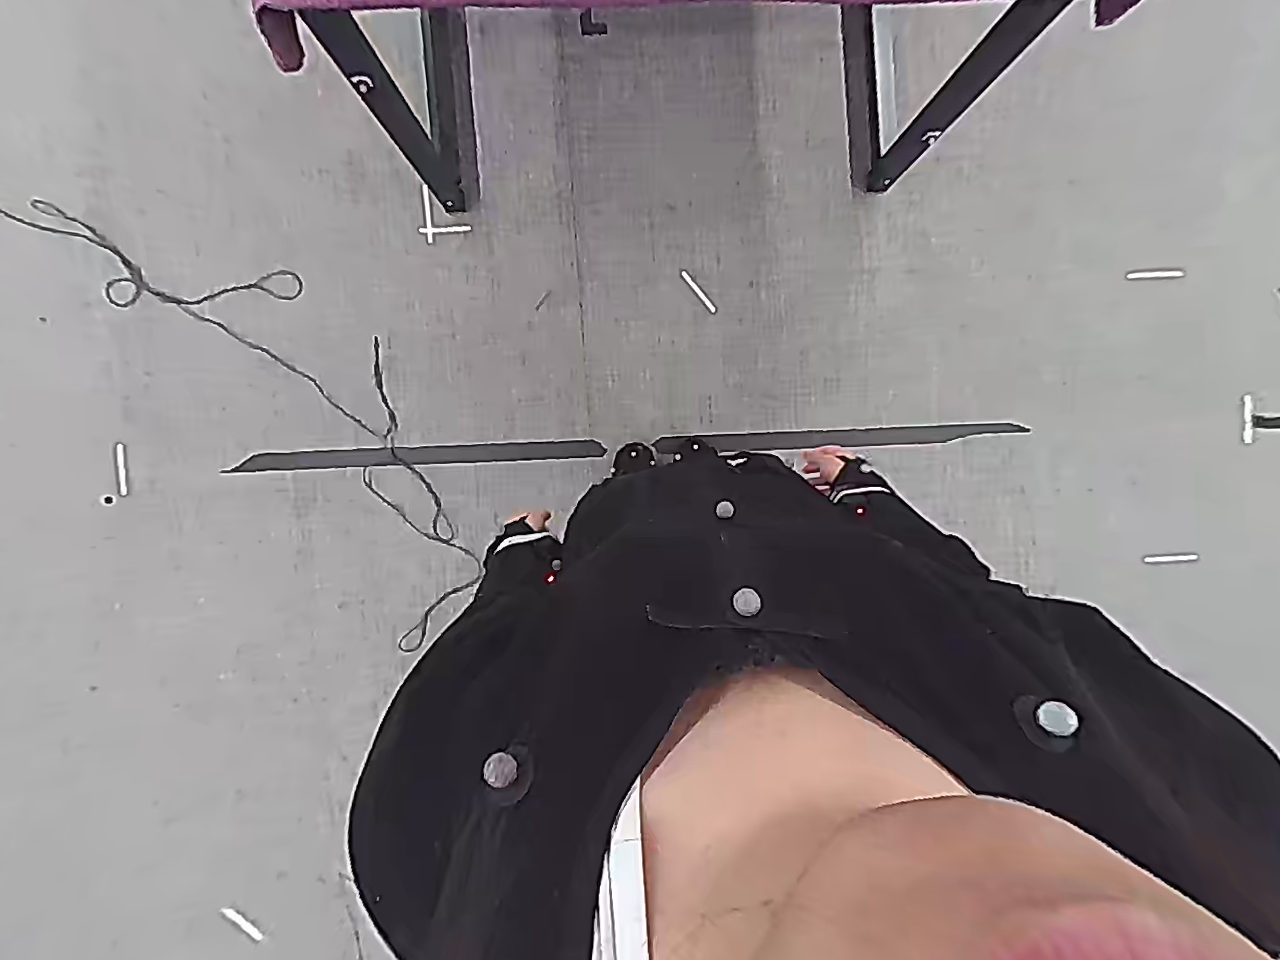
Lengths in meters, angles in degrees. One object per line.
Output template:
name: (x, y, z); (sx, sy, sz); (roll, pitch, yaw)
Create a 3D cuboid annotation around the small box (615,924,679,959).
small box: (0.029, 1.361, 1.458); (0.168, 0.176, 0.179); (-12, 93, -2)
